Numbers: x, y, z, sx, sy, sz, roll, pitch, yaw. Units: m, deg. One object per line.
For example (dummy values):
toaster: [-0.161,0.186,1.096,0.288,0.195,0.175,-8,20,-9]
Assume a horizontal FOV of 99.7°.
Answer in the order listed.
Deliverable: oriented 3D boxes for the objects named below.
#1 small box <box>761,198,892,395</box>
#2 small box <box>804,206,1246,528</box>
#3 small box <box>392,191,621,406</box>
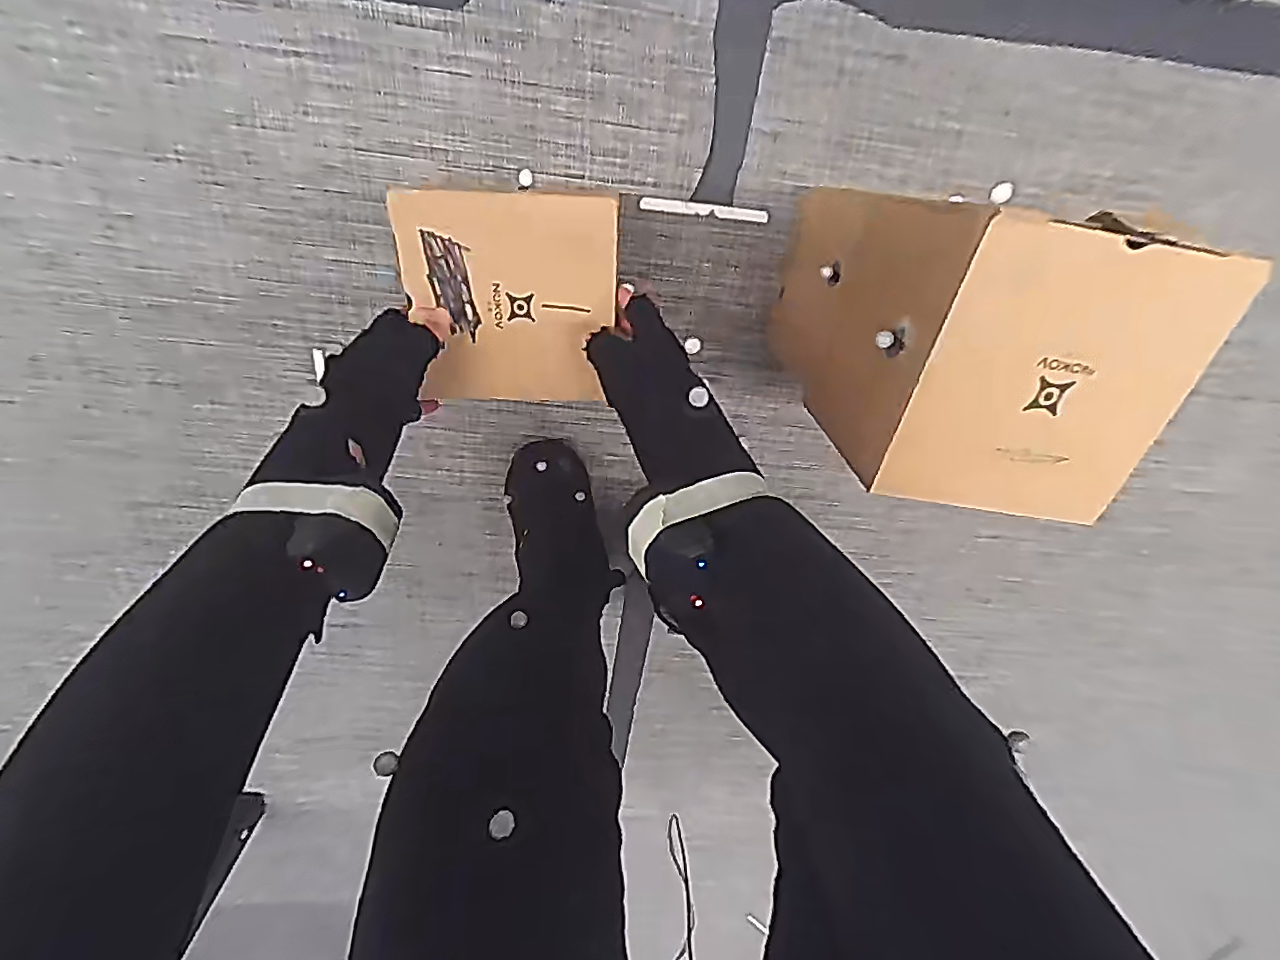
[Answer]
small box: [0.244,-0.175,0.541,0.179,0.176,0.168,8,118,-9]
small box: [0.241,-0.091,0.400,0.168,0.176,0.179,9,120,-6]
small box: [-0.109,-0.180,0.520,0.179,0.176,0.168,1,120,-4]
